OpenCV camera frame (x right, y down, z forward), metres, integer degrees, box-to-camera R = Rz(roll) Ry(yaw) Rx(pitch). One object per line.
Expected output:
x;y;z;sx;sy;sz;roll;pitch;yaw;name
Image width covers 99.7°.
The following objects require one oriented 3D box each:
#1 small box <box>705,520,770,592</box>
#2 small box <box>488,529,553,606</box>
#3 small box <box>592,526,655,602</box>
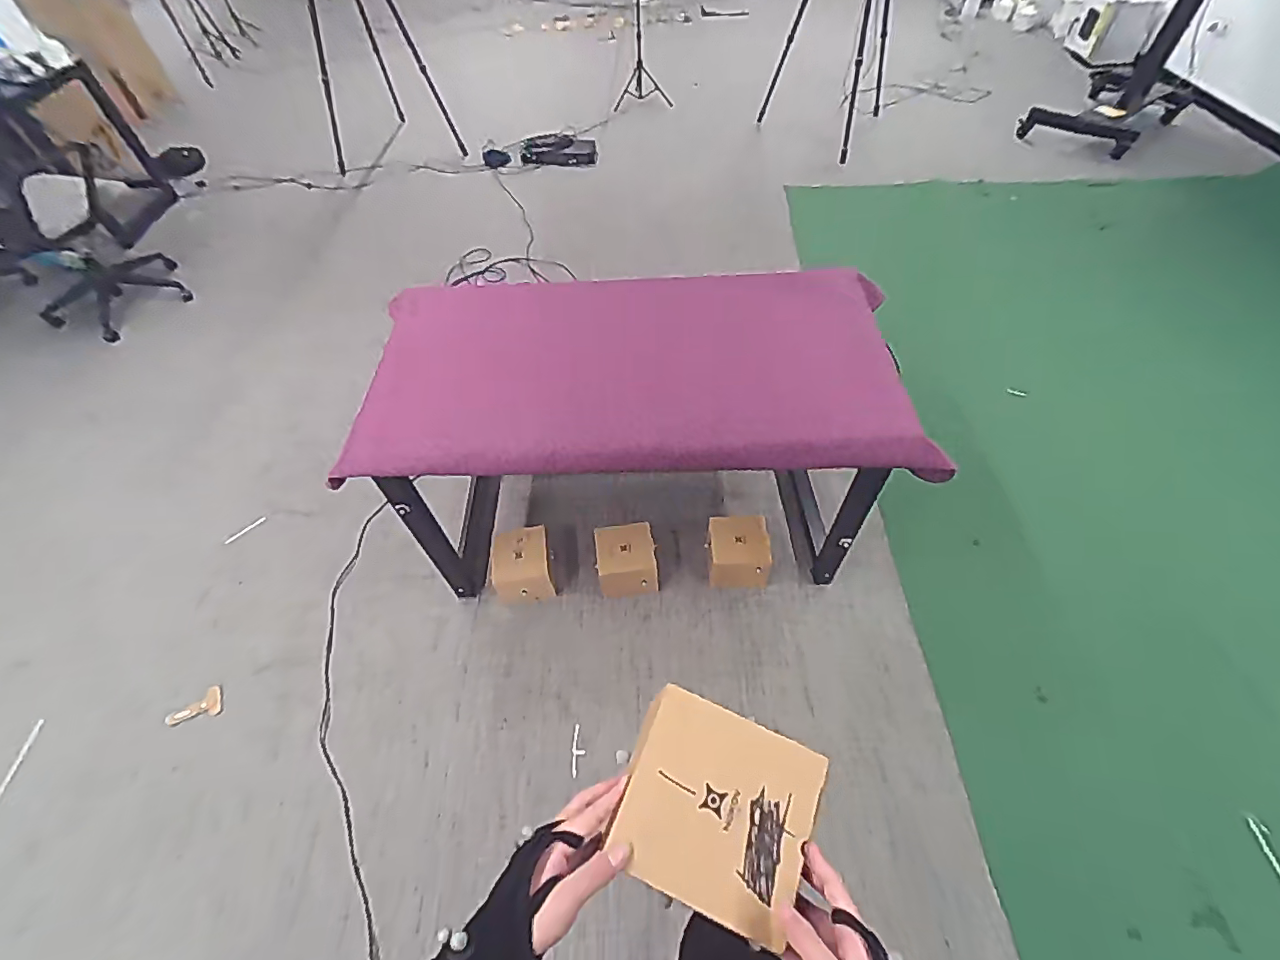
0.295;0.239;1.681;0.179;0.176;0.168;-1;52;1;small box
-0.366;0.278;1.673;0.168;0.176;0.179;-9;53;-4;small box
-0.049;0.262;1.675;0.179;0.176;0.168;-8;52;-3;small box
